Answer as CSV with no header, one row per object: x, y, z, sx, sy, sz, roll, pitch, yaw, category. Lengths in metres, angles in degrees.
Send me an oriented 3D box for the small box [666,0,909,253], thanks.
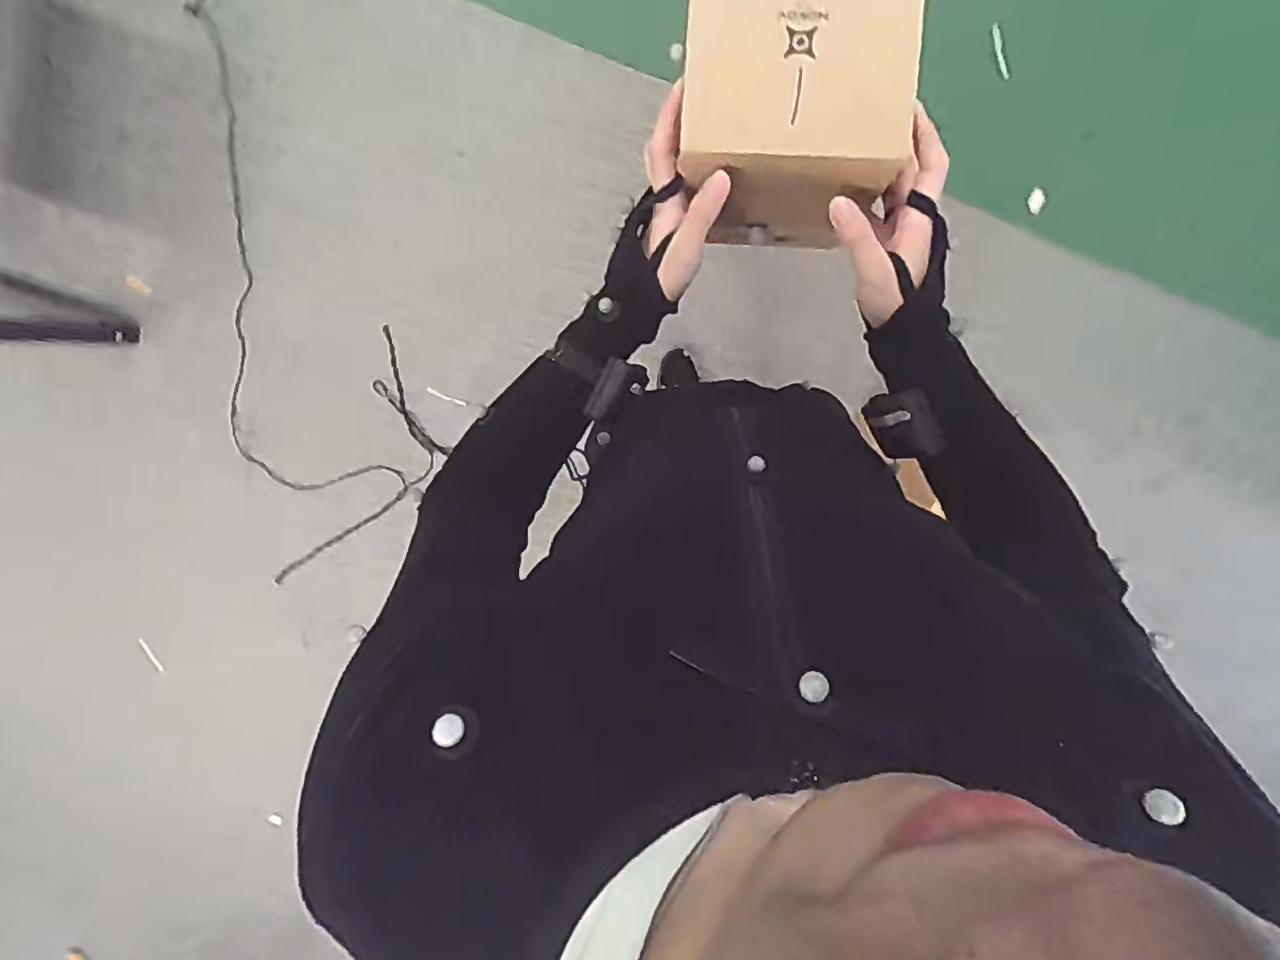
0.110,-0.319,0.467,0.168,0.176,0.179,4,94,3,small box
